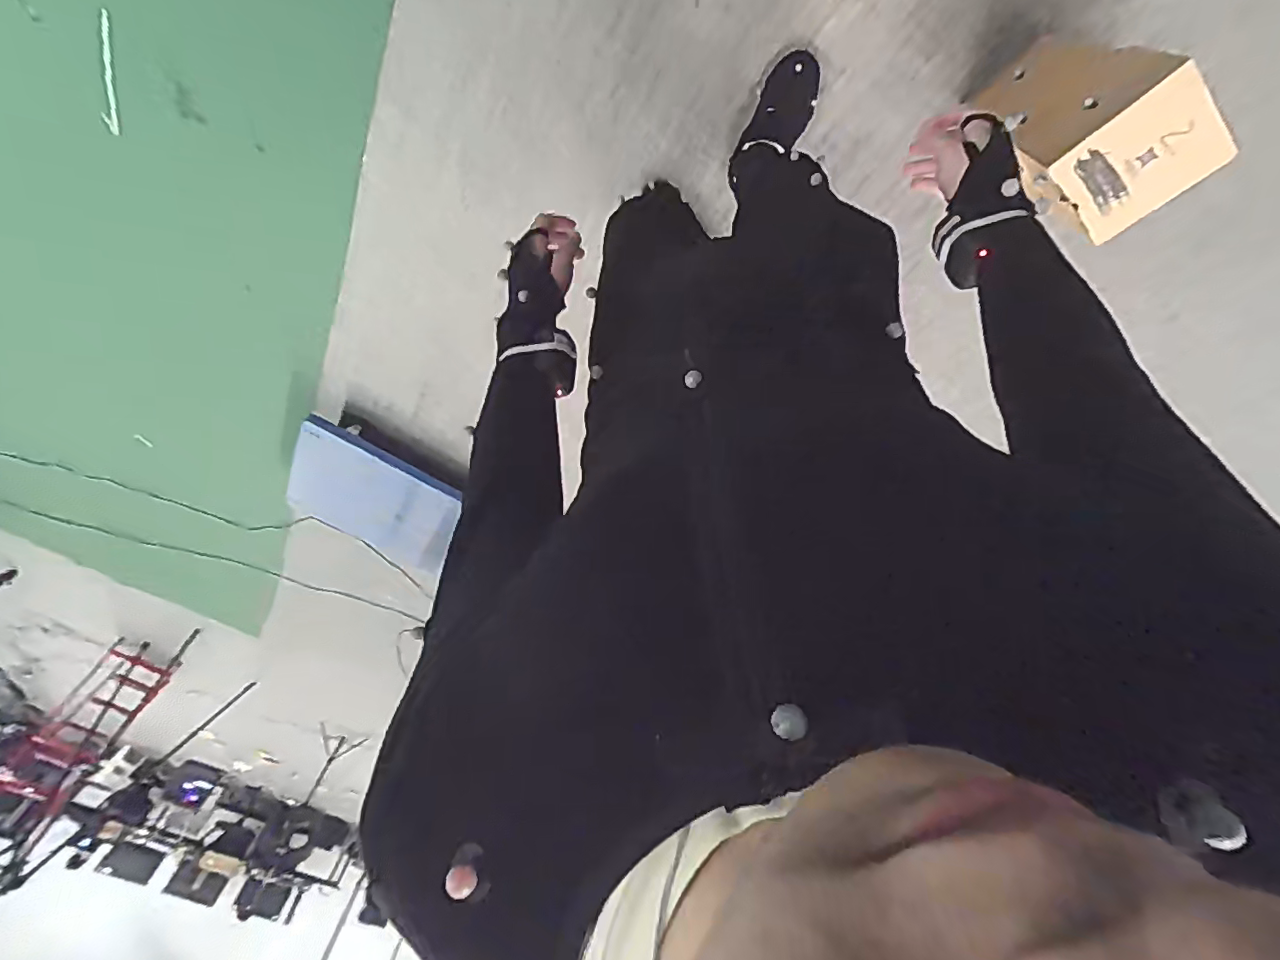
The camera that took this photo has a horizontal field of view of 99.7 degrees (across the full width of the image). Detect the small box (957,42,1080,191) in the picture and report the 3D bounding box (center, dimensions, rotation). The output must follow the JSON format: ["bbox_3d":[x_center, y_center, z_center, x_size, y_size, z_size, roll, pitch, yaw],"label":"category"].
[{"bbox_3d":[0.766,-0.722,1.070,0.168,0.176,0.179,42,129,-21],"label":"small box"}]

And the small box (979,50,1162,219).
[{"bbox_3d":[0.745,-0.612,0.955,0.168,0.176,0.179,35,131,-19],"label":"small box"}]

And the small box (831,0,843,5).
[{"bbox_3d":[0.314,-0.877,0.818,0.168,0.176,0.179,35,132,-18],"label":"small box"}]
